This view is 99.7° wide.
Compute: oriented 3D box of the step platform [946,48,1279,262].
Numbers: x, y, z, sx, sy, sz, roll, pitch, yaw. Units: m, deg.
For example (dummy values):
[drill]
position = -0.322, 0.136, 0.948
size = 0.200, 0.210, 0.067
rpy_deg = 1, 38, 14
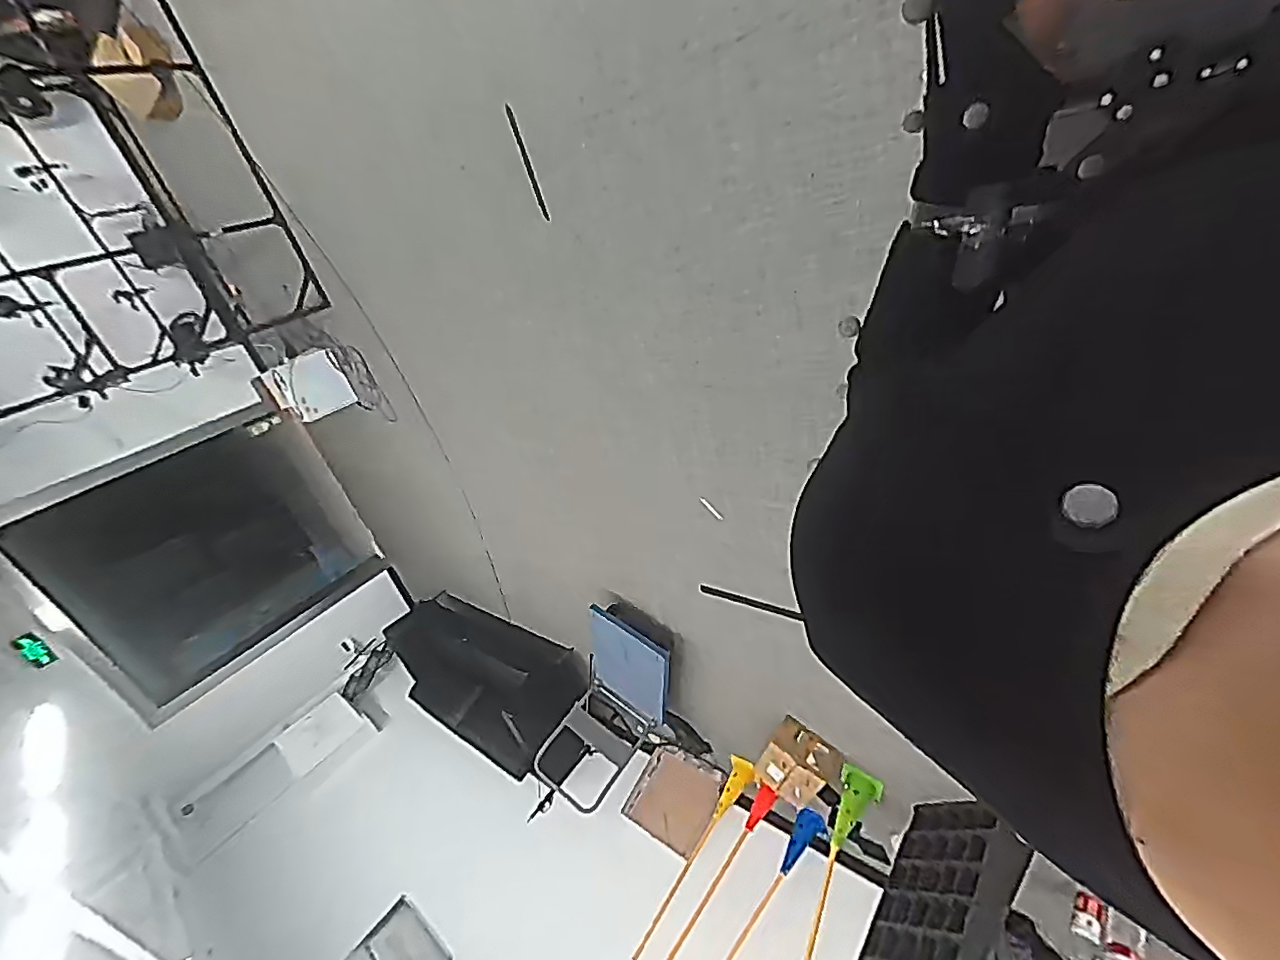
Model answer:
[step platform]
position = 0.943, -0.574, 0.973
size = 0.684, 0.204, 0.286
rpy_deg = 15, 131, 40
